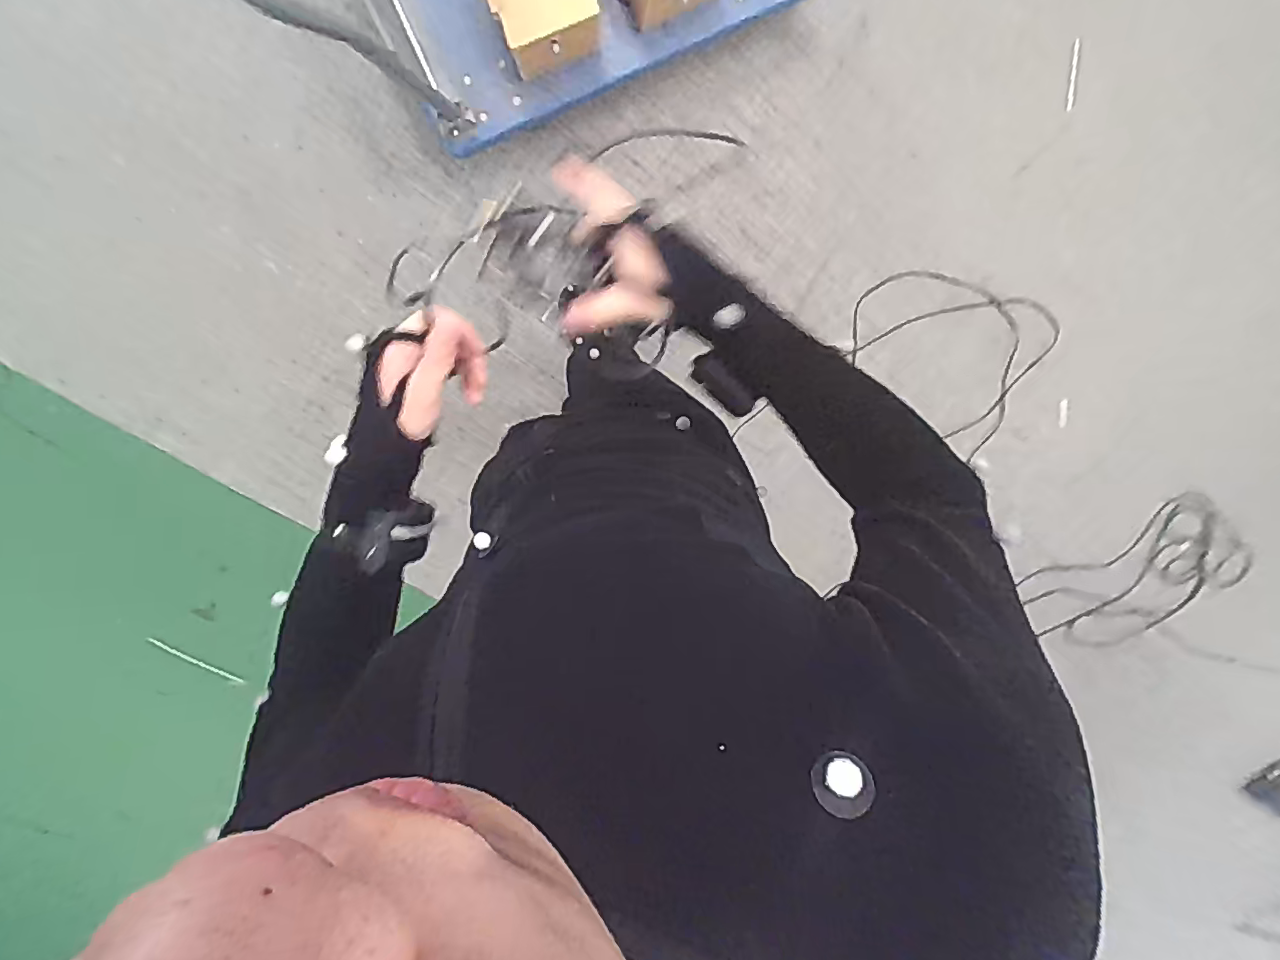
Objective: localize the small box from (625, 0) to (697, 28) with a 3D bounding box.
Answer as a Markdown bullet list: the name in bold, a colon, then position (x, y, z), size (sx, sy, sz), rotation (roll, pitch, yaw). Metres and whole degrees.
- **small box**: position (0.045, -0.981, 0.983), size (0.179, 0.176, 0.168), rotation (-22, 110, 7)

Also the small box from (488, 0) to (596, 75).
- **small box**: position (-0.189, -0.899, 1.005), size (0.179, 0.176, 0.168), rotation (-19, 111, 5)
